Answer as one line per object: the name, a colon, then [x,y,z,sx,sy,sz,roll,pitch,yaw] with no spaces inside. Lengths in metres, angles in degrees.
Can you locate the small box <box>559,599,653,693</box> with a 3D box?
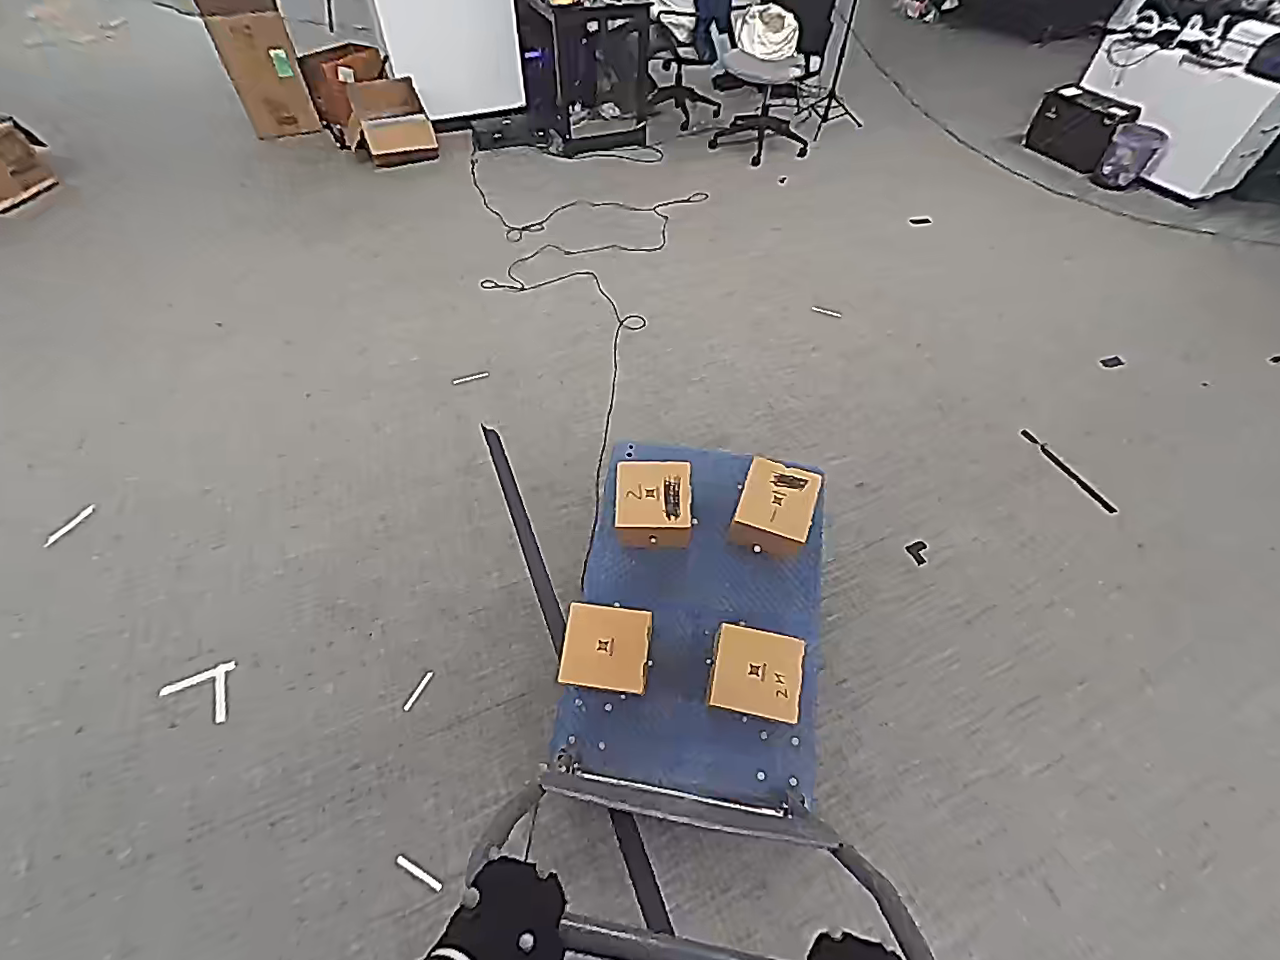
small box: [-0.068,0.373,1.199,0.179,0.176,0.168,7,67,3]

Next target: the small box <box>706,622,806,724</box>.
small box: [0.244,0.420,1.167,0.179,0.176,0.168,12,68,7]

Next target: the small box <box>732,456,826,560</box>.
small box: [0.329,0.074,1.314,0.168,0.176,0.179,19,70,10]
